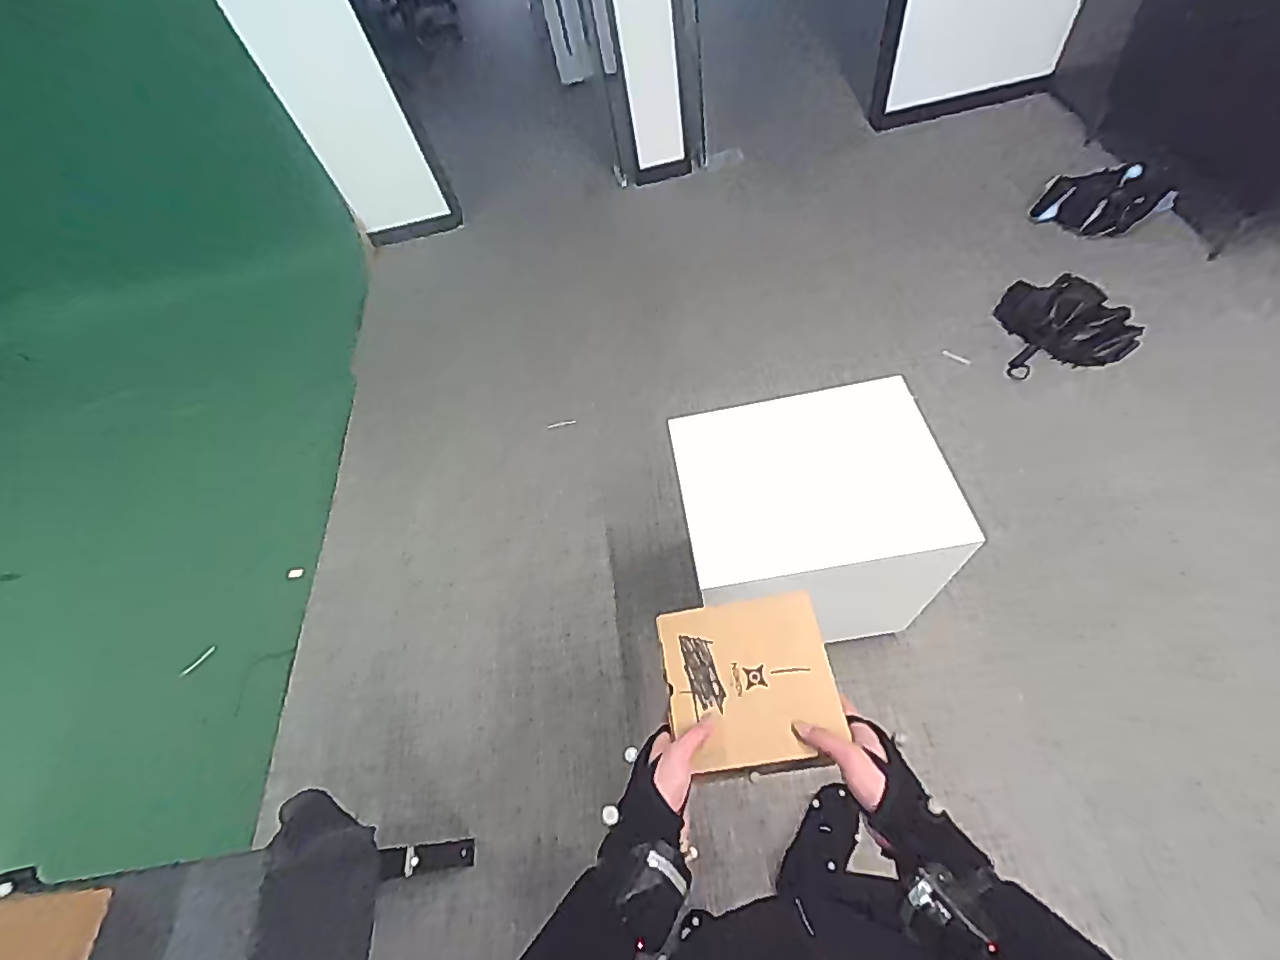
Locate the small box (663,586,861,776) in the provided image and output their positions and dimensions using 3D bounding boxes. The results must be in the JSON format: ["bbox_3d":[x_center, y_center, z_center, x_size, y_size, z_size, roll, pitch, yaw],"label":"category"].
[{"bbox_3d":[0.131,0.240,0.628,0.179,0.176,0.168,-10,58,4],"label":"small box"}]

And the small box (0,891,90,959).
[{"bbox_3d":[-0.809,0.589,0.620,0.168,0.176,0.179,-7,58,4],"label":"small box"}]
